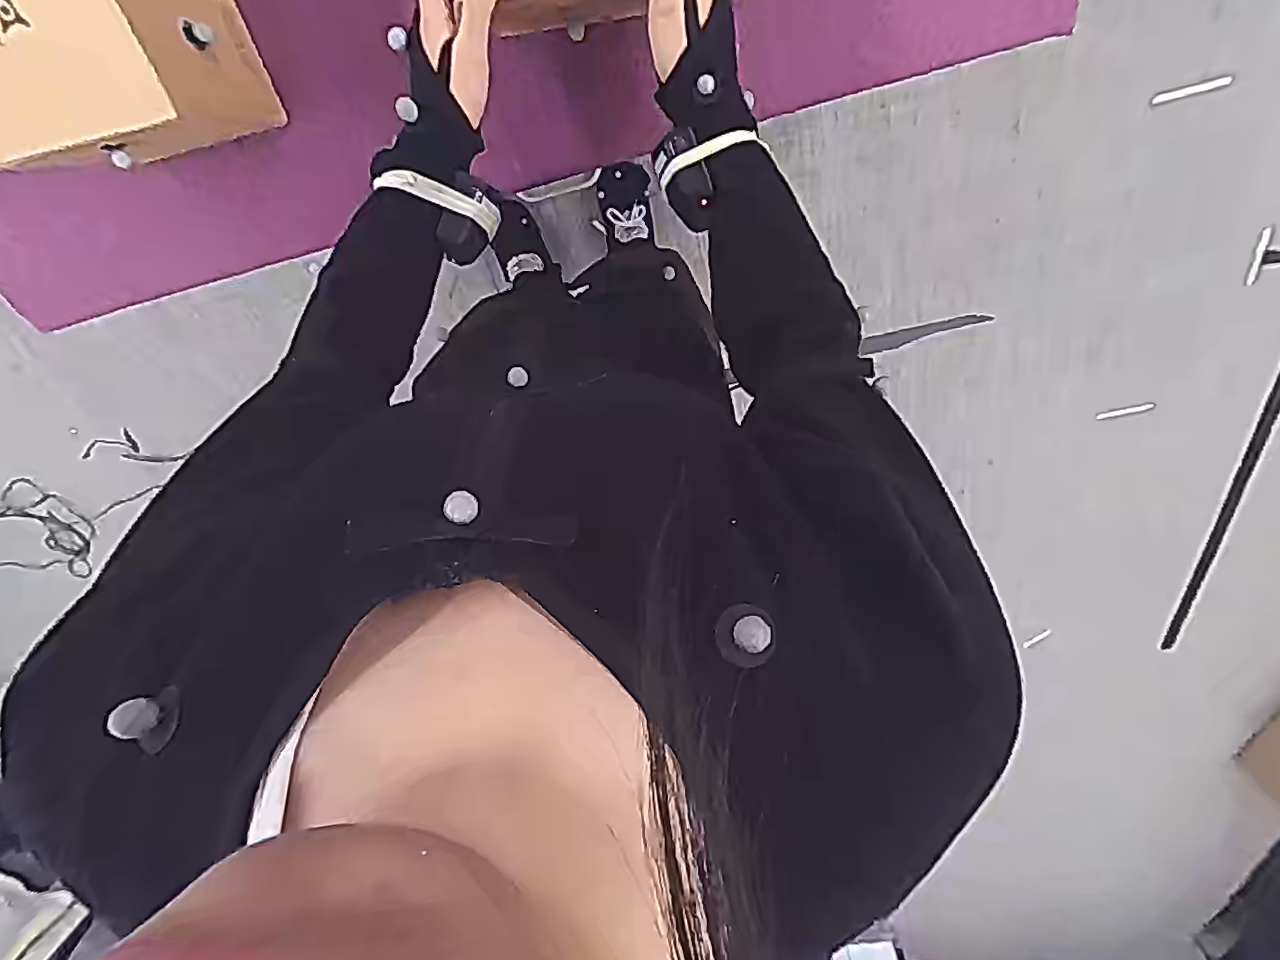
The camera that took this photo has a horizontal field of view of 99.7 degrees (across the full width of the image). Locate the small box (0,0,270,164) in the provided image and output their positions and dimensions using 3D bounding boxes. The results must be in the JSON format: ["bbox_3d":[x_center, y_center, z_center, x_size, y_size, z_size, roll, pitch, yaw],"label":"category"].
[{"bbox_3d":[-0.458,-0.381,0.454,0.179,0.176,0.168,-10,123,6],"label":"small box"}]

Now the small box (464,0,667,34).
[{"bbox_3d":[-0.063,-0.465,0.405,0.168,0.176,0.179,-5,124,3],"label":"small box"}]
